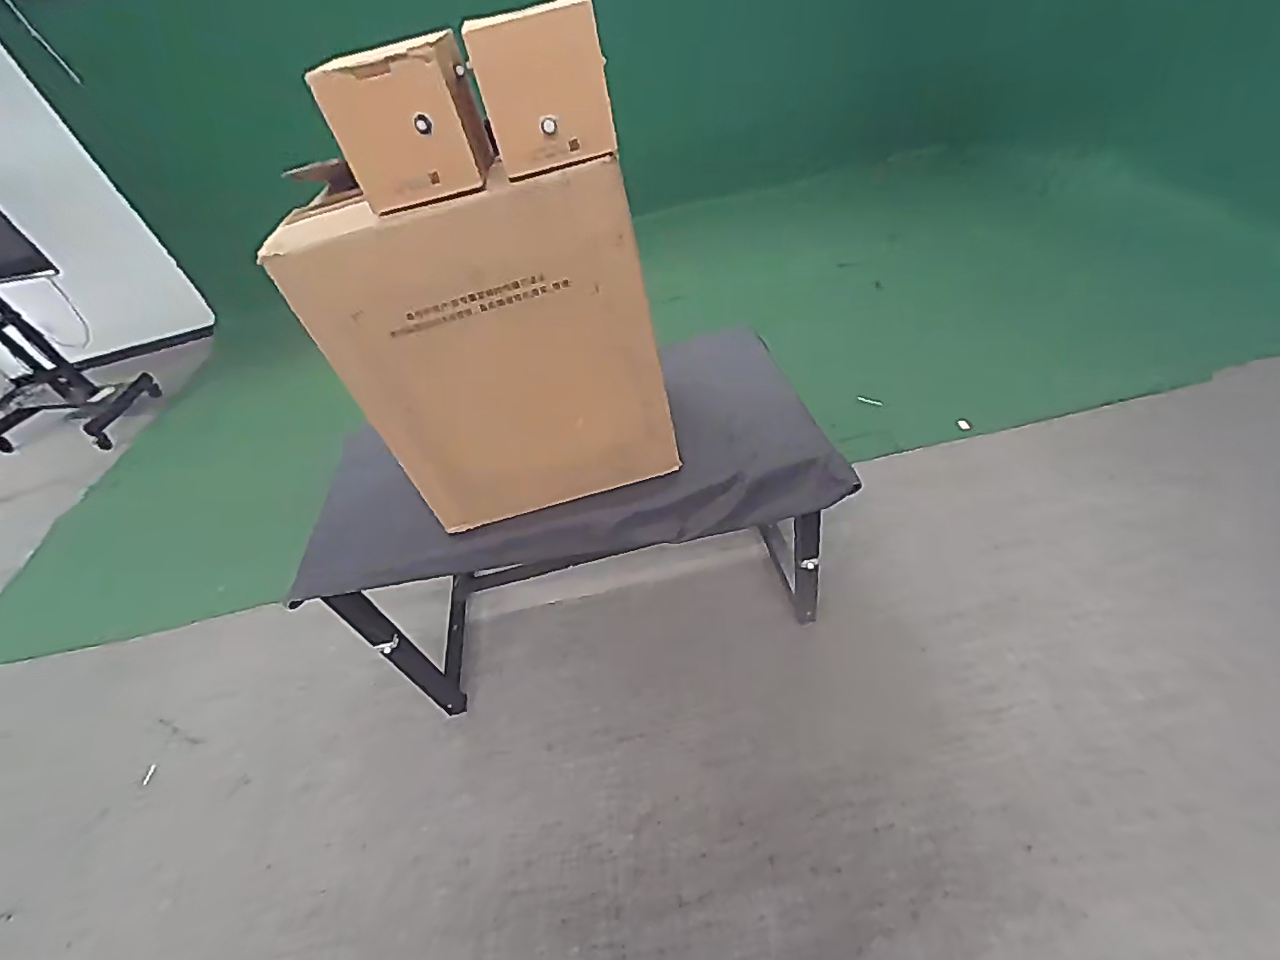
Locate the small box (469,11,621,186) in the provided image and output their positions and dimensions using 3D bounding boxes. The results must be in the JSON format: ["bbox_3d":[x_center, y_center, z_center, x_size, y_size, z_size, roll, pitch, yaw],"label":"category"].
[{"bbox_3d":[-0.133,-0.548,0.780,0.168,0.176,0.179,-15,44,-1],"label":"small box"}]
